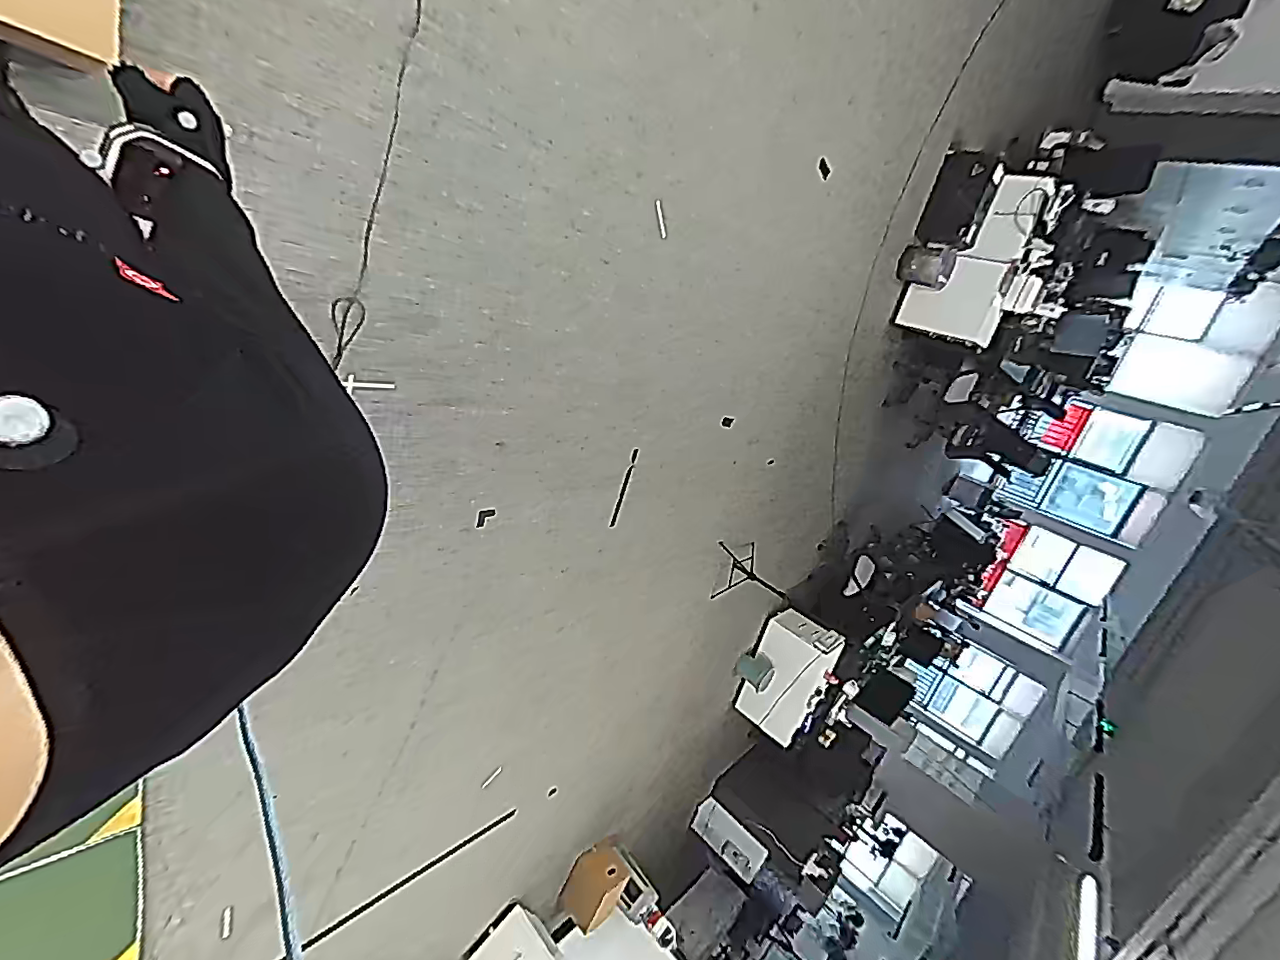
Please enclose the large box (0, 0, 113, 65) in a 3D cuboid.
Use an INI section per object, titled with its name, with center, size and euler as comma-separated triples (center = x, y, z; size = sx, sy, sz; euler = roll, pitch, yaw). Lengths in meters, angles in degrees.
[large box]
center = -0.940, -0.779, 0.651
size = 0.408, 0.320, 0.320
euler = -5, 118, -51
